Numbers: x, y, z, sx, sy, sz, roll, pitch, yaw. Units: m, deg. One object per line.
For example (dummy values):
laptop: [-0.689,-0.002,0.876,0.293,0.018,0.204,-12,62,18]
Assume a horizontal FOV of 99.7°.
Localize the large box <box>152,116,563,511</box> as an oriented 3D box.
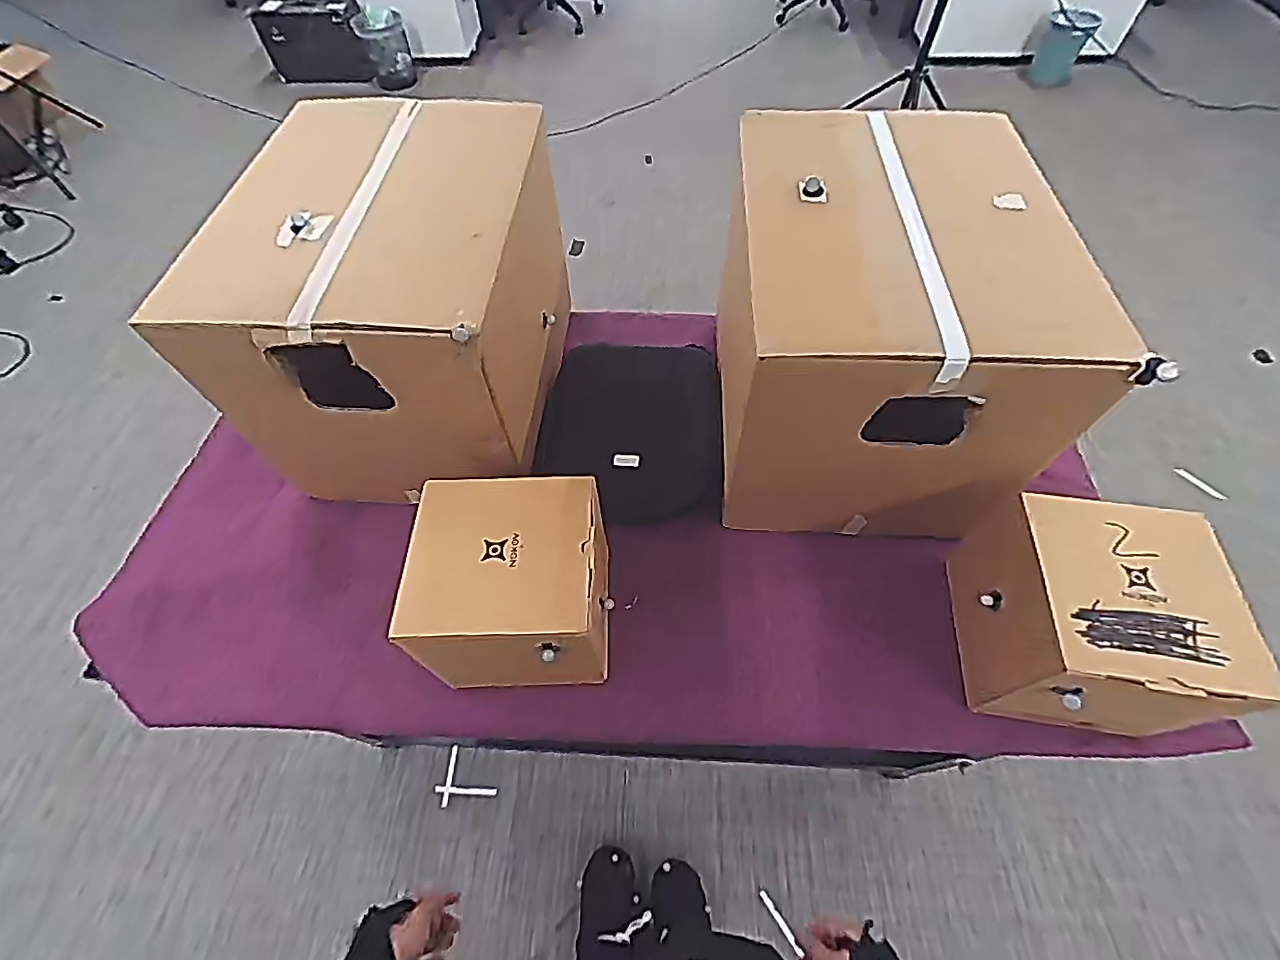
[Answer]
large box: [-0.286,-0.207,0.711,0.320,0.320,0.408,1,60,2]
